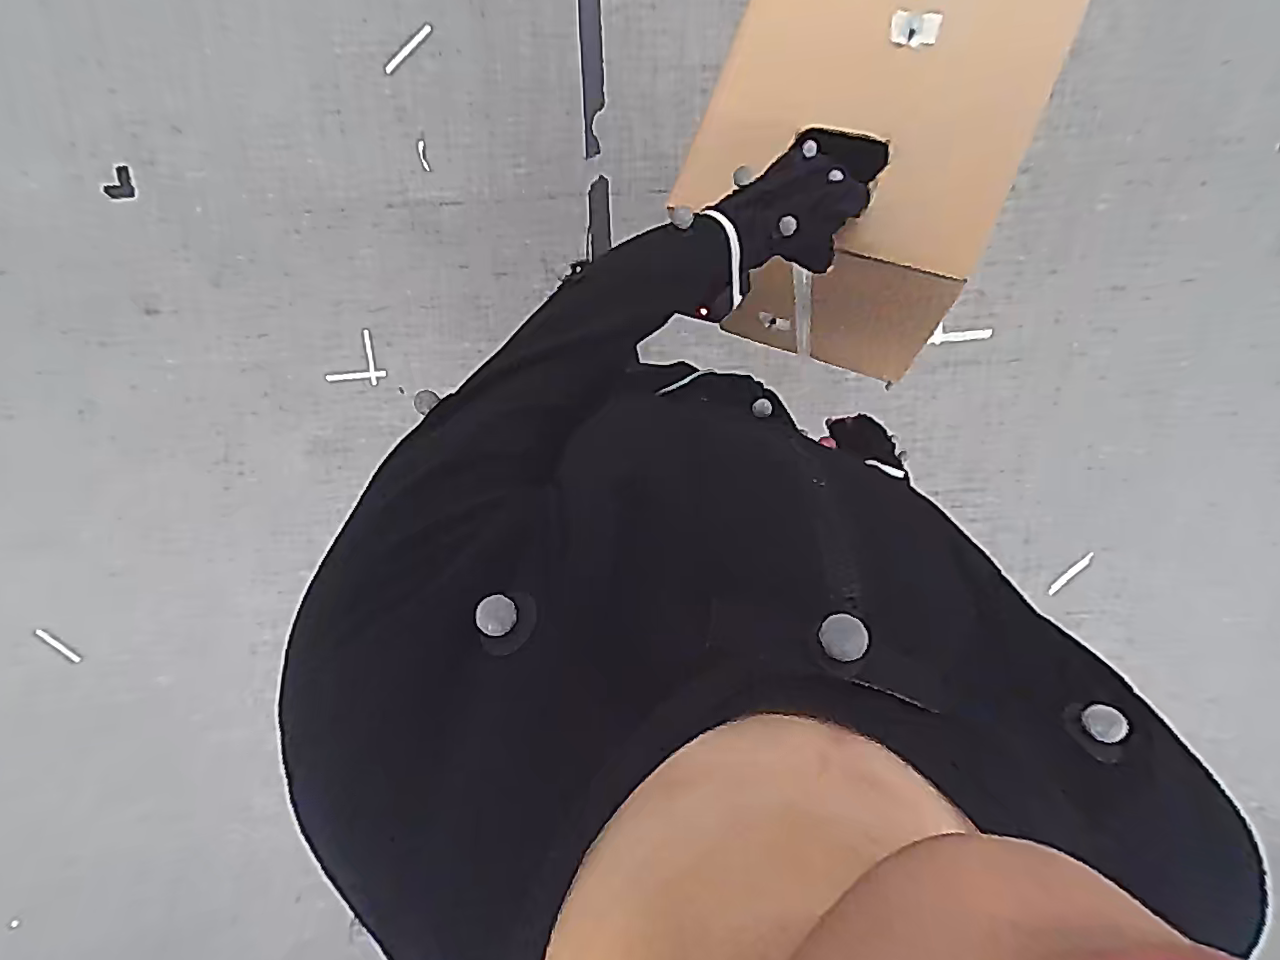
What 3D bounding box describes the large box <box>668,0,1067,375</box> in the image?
[{"bbox_3d":[0.278,-0.374,0.730,0.320,0.408,0.320,24,95,17],"label":"large box"}]
